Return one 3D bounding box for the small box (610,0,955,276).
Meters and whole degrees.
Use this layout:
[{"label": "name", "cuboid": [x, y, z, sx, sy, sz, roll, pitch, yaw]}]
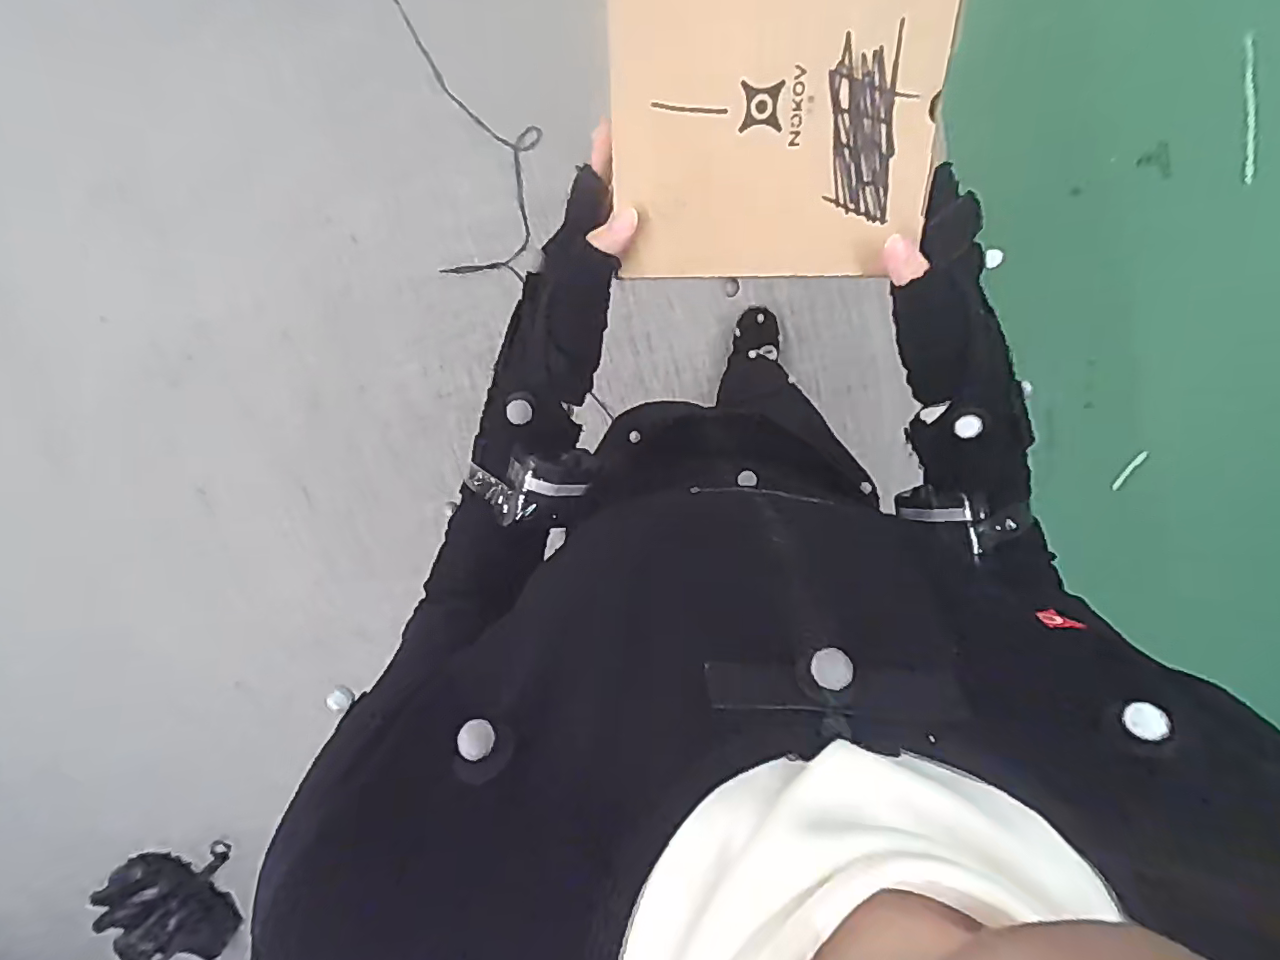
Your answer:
[{"label": "small box", "cuboid": [0.073, -0.233, 0.360, 0.179, 0.176, 0.168, -5, 113, 0]}]
